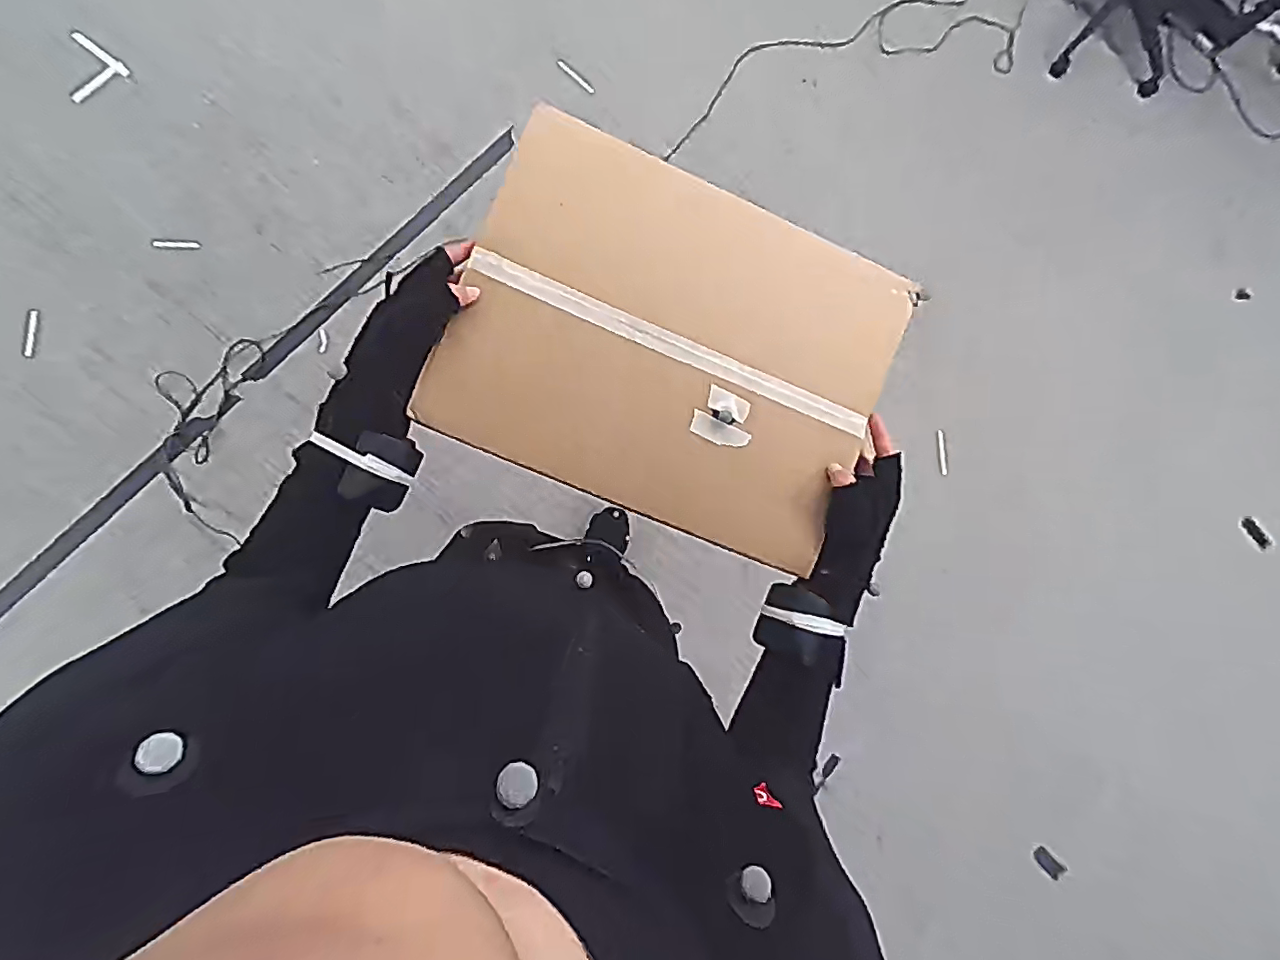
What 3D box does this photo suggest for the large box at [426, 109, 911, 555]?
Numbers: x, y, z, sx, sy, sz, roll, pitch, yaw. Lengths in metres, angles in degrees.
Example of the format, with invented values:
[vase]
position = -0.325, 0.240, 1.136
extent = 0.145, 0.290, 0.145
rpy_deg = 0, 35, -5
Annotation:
[large box]
position = 0.020, -0.137, 0.667
extent = 0.408, 0.320, 0.320
rpy_deg = 23, 89, -7
